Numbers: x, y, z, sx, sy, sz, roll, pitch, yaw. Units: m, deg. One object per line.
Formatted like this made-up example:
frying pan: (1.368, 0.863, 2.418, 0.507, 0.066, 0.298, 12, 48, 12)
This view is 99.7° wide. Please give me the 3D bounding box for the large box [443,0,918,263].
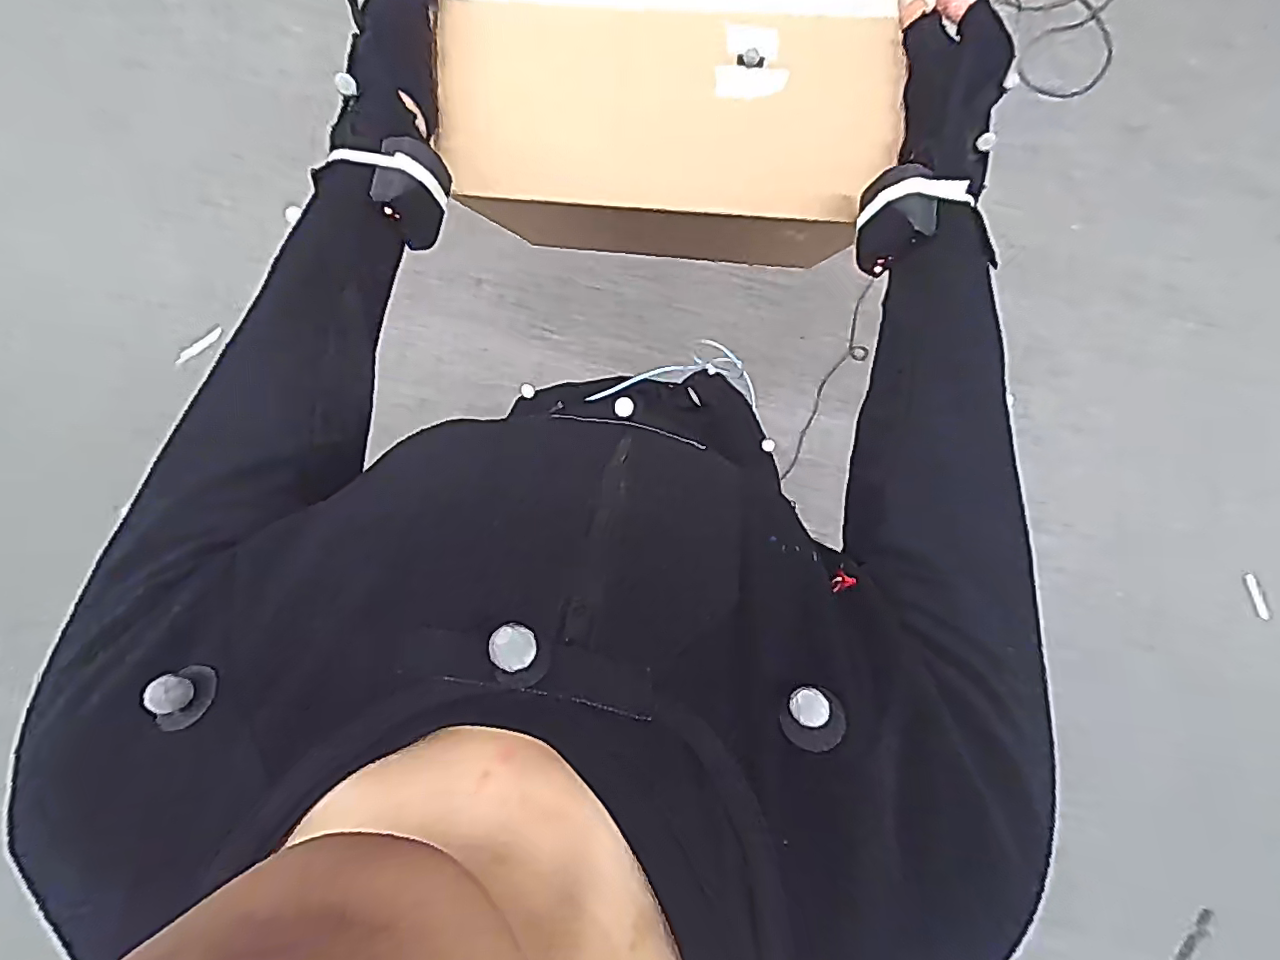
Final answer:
large box: (0.037, -0.430, 0.595, 0.408, 0.320, 0.320, 5, 106, 3)
